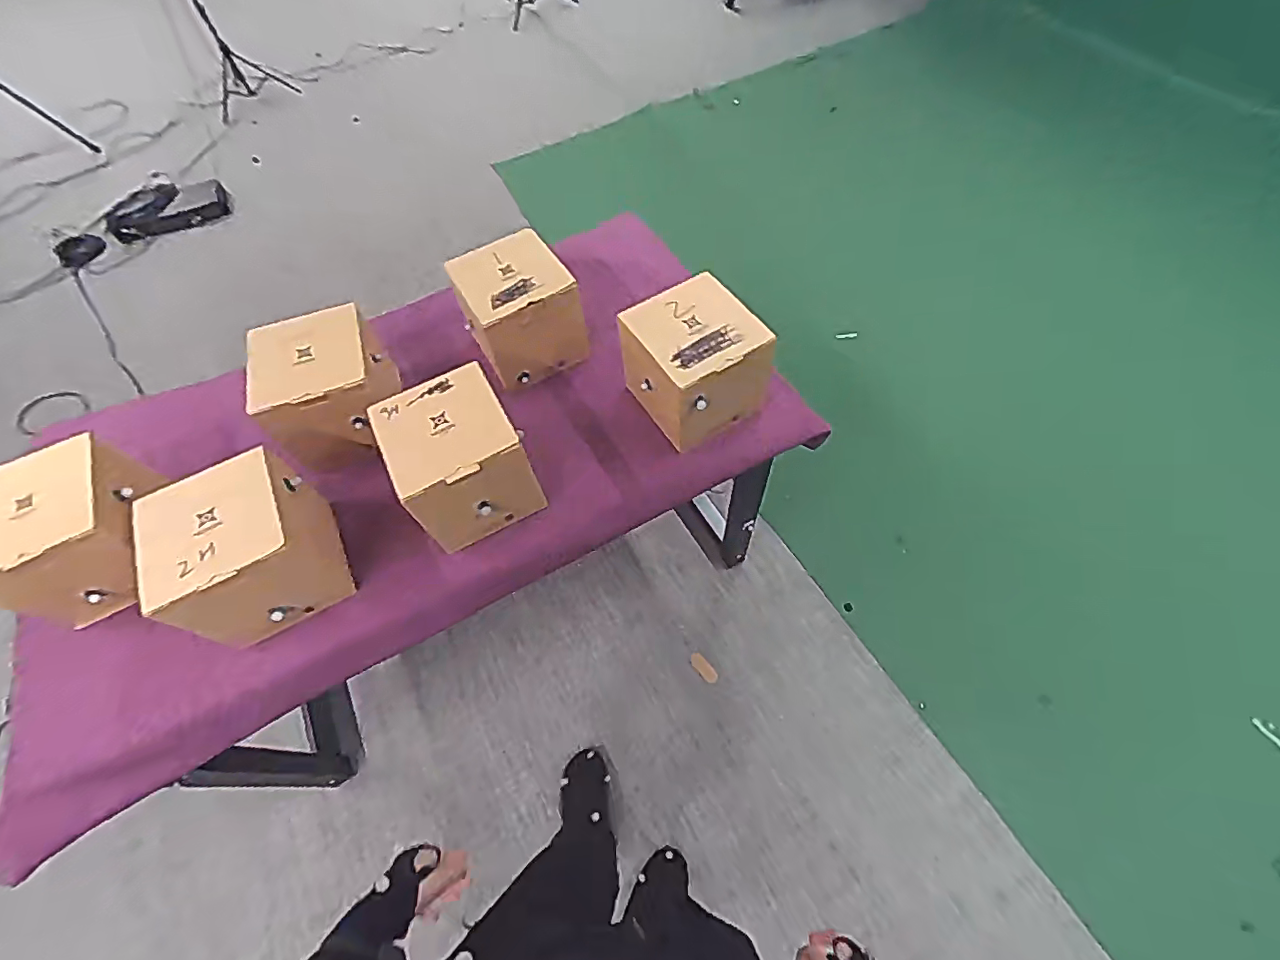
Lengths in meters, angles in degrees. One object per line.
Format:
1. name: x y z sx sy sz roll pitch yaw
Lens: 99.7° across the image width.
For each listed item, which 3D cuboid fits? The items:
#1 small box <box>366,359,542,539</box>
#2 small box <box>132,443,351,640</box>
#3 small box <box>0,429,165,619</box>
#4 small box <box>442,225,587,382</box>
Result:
1. small box: -0.260 -0.035 0.785 0.168 0.176 0.179 -27 61 -12
2. small box: -0.527 0.088 0.730 0.168 0.176 0.179 -27 62 -11
3. small box: -0.785 0.066 0.760 0.168 0.176 0.179 -27 63 -12
4. small box: -0.207 -0.294 0.931 0.168 0.176 0.179 -29 61 -13
